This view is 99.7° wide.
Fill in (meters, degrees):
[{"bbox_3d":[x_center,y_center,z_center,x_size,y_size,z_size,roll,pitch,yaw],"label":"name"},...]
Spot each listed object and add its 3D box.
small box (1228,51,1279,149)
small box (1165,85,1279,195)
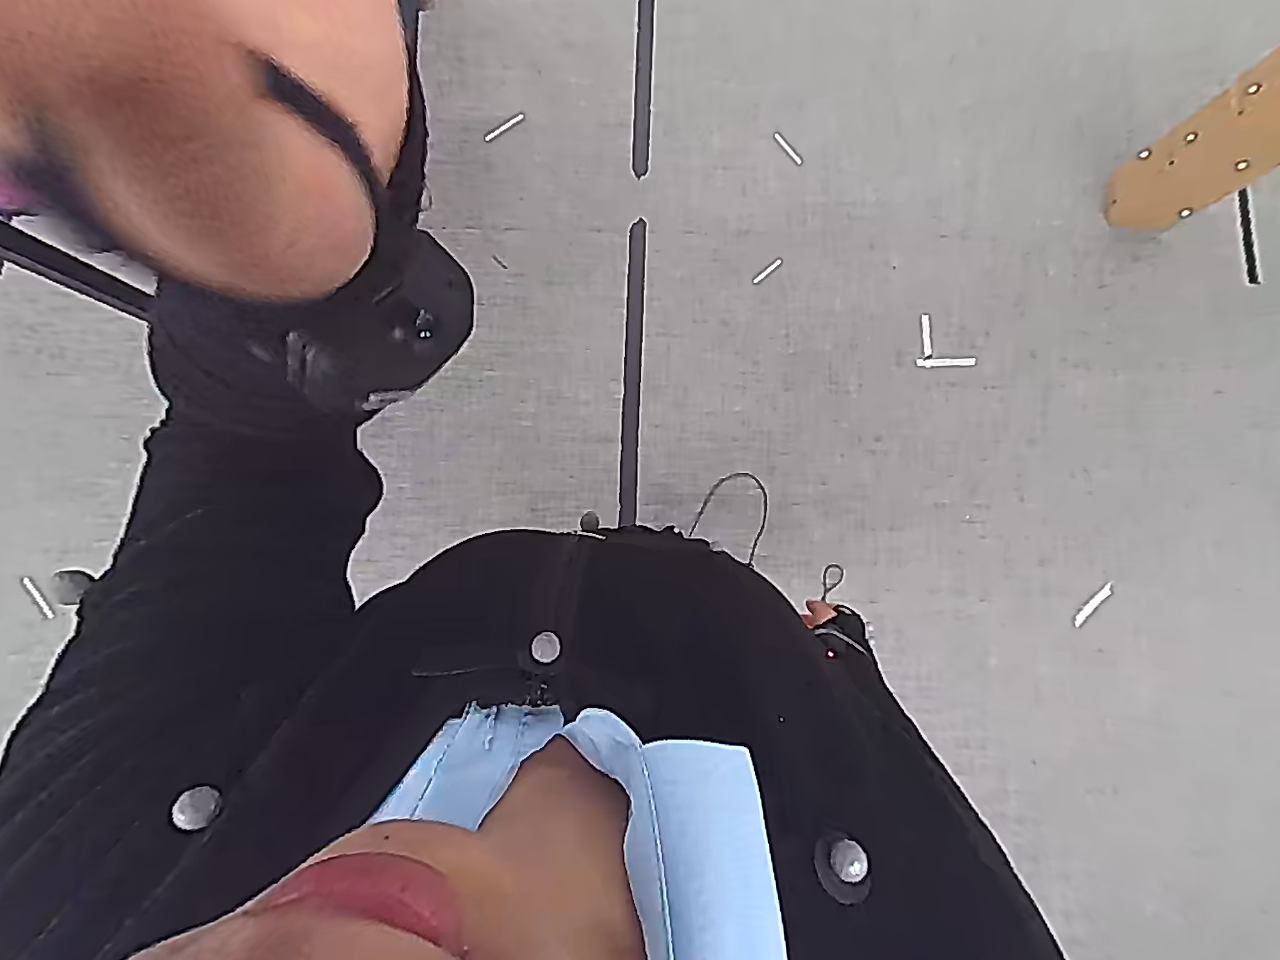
[{"bbox_3d":[1.516,-0.887,1.229,0.179,0.176,0.168,8,83,0],"label":"small box"},{"bbox_3d":[1.510,-0.865,1.389,0.179,0.176,0.168,8,84,0],"label":"small box"}]
